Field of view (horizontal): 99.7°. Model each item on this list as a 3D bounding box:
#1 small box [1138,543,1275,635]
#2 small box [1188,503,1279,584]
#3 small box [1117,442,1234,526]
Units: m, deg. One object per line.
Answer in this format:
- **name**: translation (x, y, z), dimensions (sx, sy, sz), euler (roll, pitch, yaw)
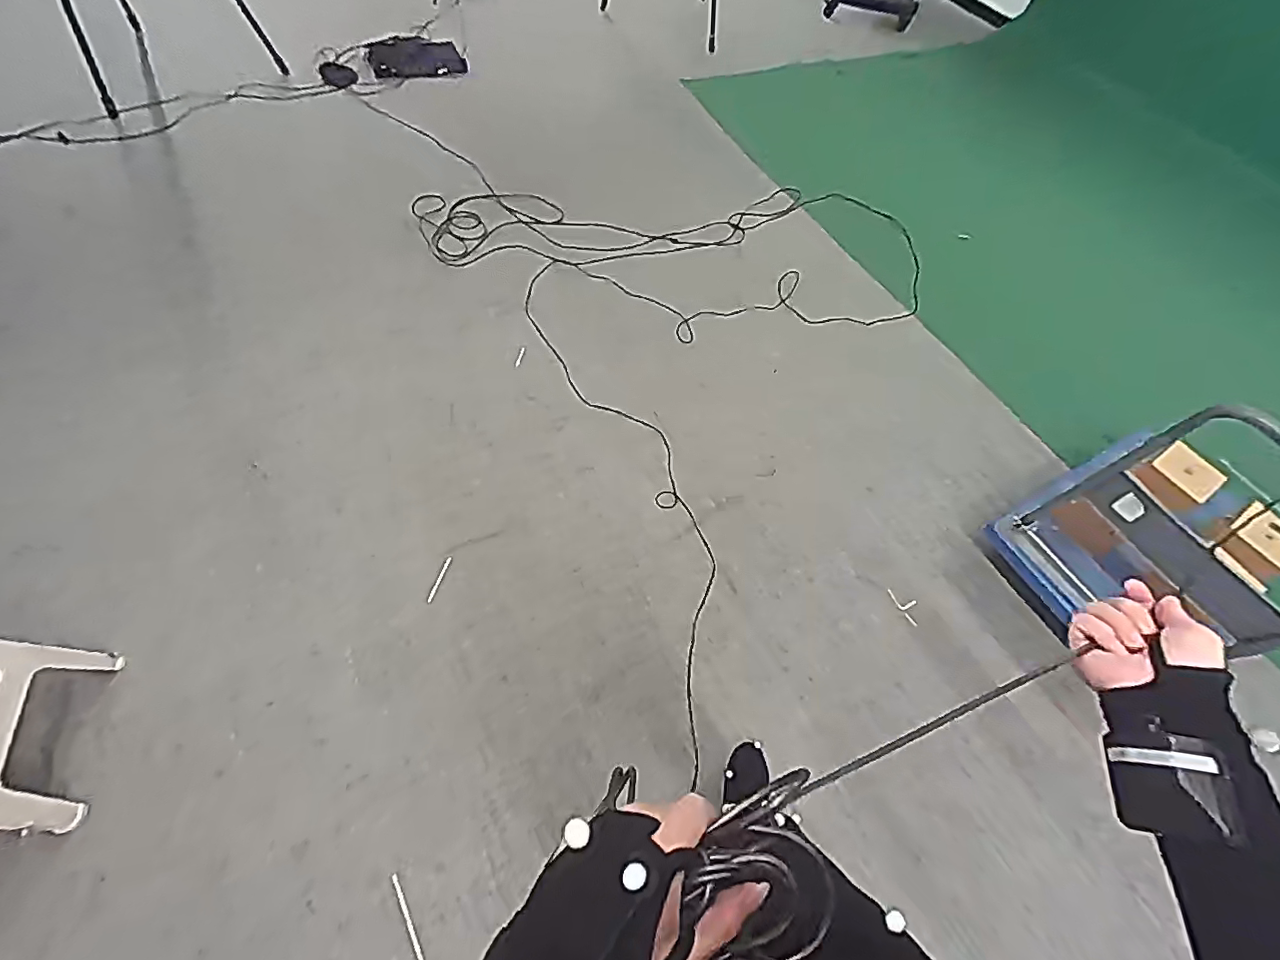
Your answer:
- **small box**: translation (1.567, 0.308, 1.509), dimensions (0.179, 0.176, 0.168), euler (-23, 65, -18)
- **small box**: translation (1.800, 0.203, 1.596), dimensions (0.179, 0.176, 0.168), euler (-28, 65, -20)
- **small box**: translation (1.661, 0.017, 1.692), dimensions (0.179, 0.176, 0.168), euler (-27, 67, -21)
